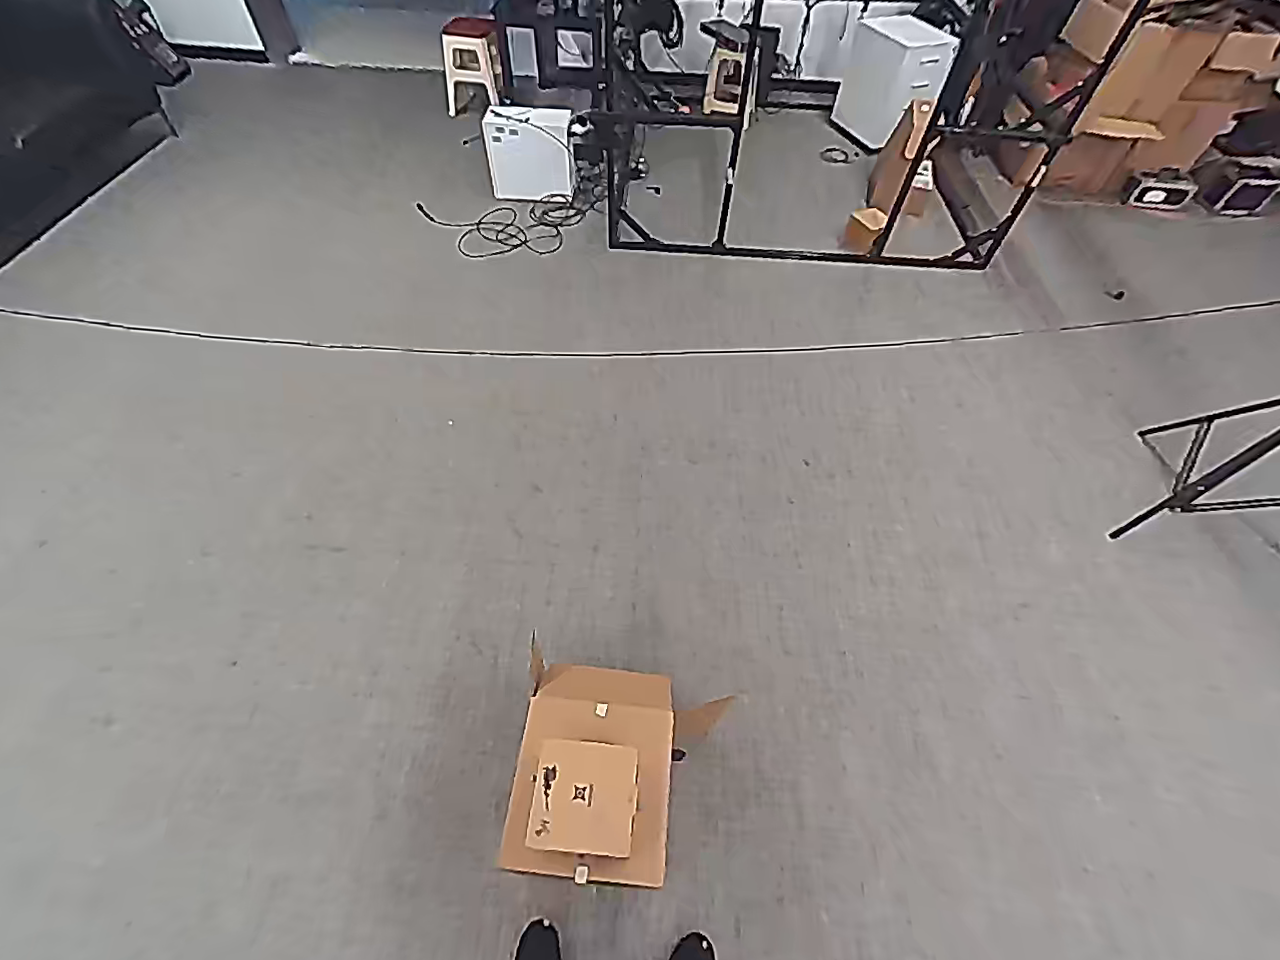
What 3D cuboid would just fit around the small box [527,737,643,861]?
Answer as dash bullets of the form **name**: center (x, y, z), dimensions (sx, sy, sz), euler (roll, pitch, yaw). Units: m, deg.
- **small box**: center (-0.092, 0.577, 0.978), dimensions (0.179, 0.176, 0.168), euler (6, 55, 1)
